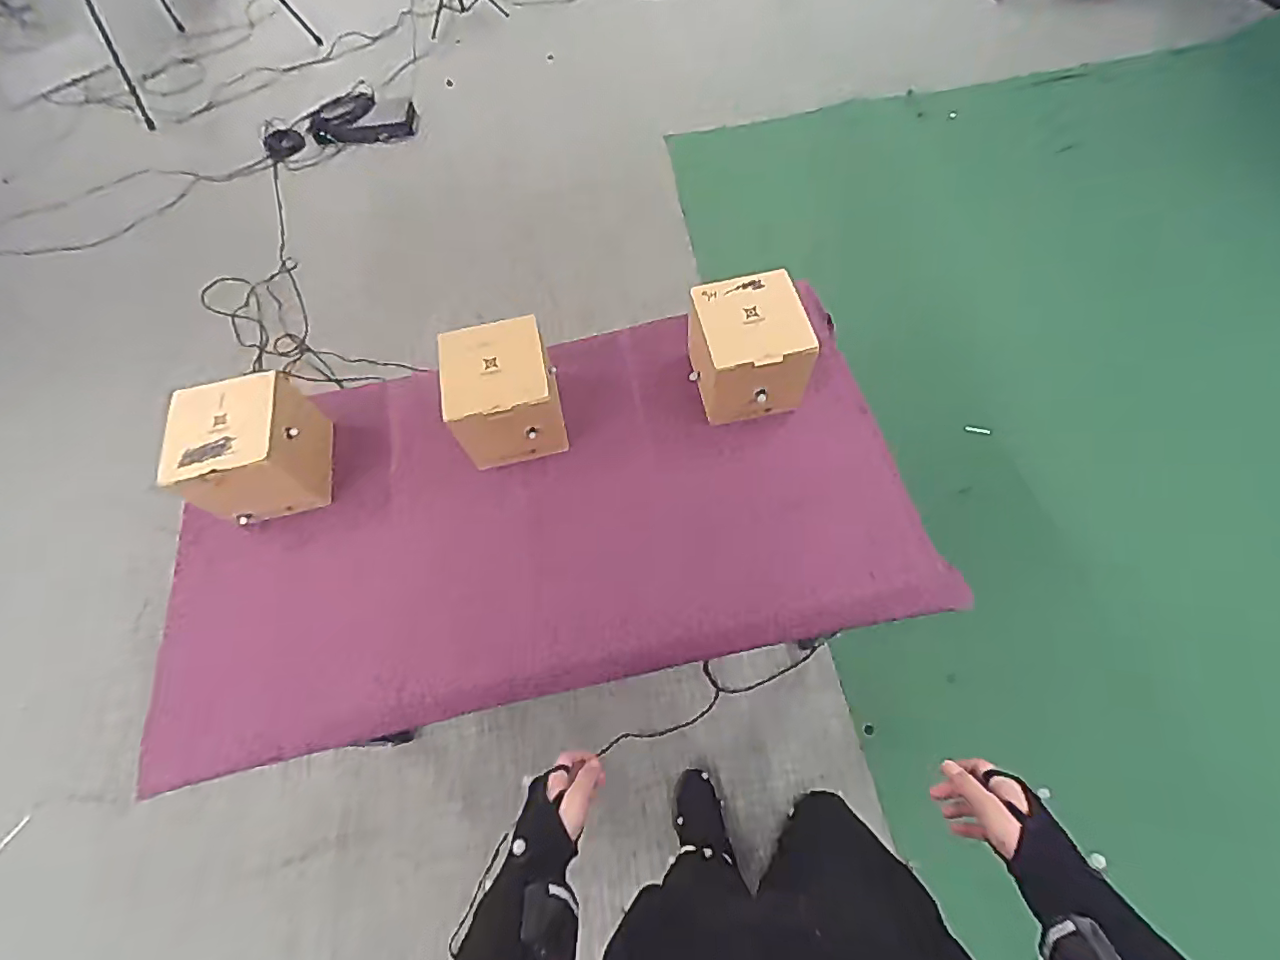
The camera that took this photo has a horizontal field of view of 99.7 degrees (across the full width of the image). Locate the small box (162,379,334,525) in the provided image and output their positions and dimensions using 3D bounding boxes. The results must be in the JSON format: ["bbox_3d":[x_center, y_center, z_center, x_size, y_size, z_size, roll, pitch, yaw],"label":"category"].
[{"bbox_3d":[-0.642,-0.037,0.909,0.168,0.176,0.179,-14,63,-3],"label":"small box"}]

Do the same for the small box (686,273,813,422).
[{"bbox_3d":[0.178,-0.216,0.928,0.168,0.176,0.179,-12,64,-1],"label":"small box"}]

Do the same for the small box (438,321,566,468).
[{"bbox_3d":[-0.230,-0.136,0.925,0.168,0.176,0.179,-13,64,-2],"label":"small box"}]
